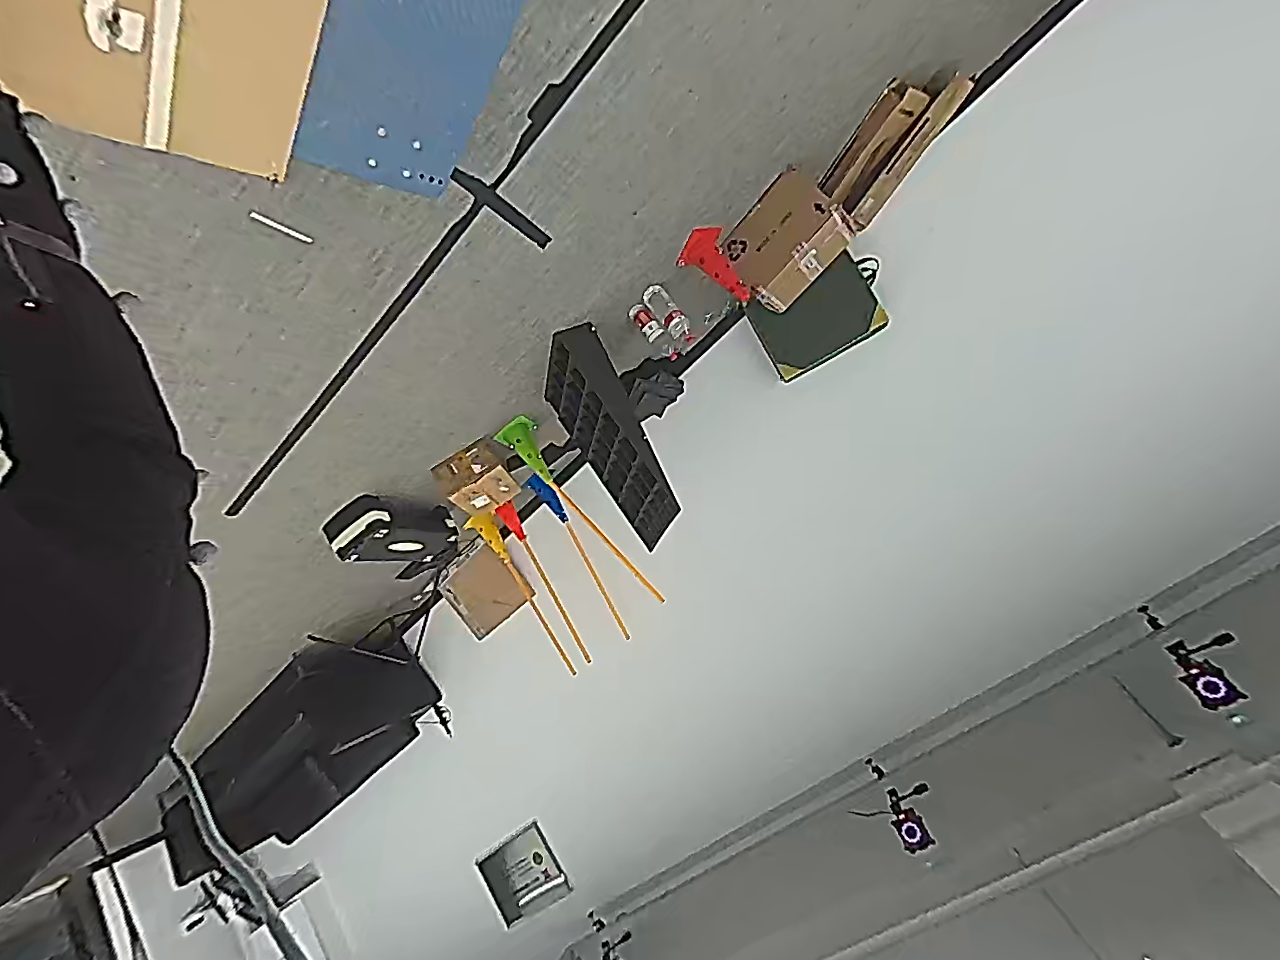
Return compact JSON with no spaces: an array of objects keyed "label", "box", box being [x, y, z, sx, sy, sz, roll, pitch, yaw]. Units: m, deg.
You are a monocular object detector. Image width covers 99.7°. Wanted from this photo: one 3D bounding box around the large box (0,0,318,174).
[{"label":"large box","box":[-0.618,-0.681,0.641,0.408,0.320,0.320,-45,162,33]}]
